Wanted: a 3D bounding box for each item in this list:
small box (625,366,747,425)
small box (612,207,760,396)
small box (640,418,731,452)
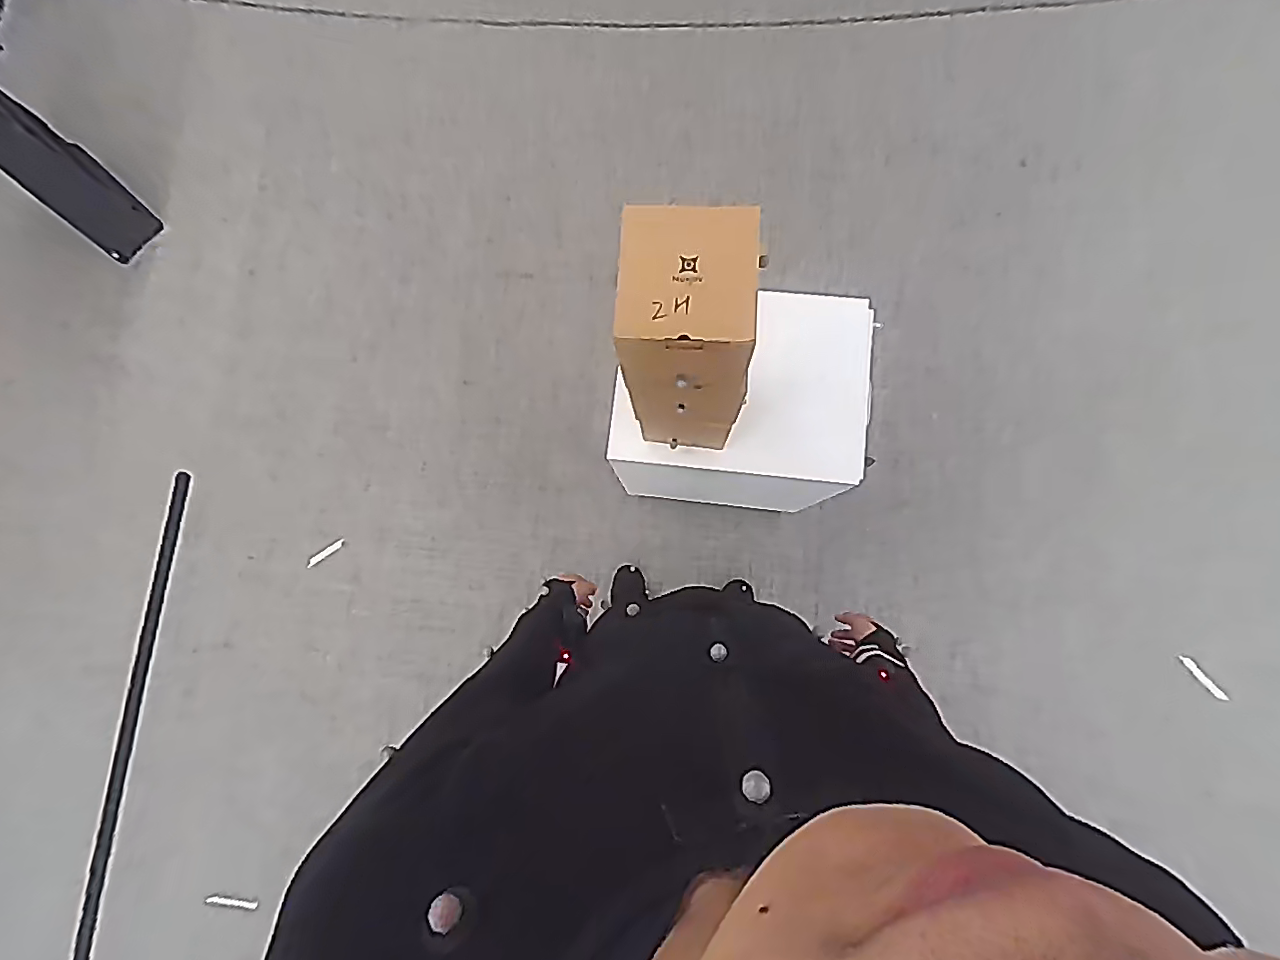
[{"bbox_3d":[0.075,-0.191,0.869,0.179,0.176,0.168,3,80,5],"label":"small box"},{"bbox_3d":[0.059,-0.225,0.709,0.168,0.176,0.179,3,80,5],"label":"small box"},{"bbox_3d":[0.089,-0.164,1.030,0.168,0.176,0.179,7,81,4],"label":"small box"}]
